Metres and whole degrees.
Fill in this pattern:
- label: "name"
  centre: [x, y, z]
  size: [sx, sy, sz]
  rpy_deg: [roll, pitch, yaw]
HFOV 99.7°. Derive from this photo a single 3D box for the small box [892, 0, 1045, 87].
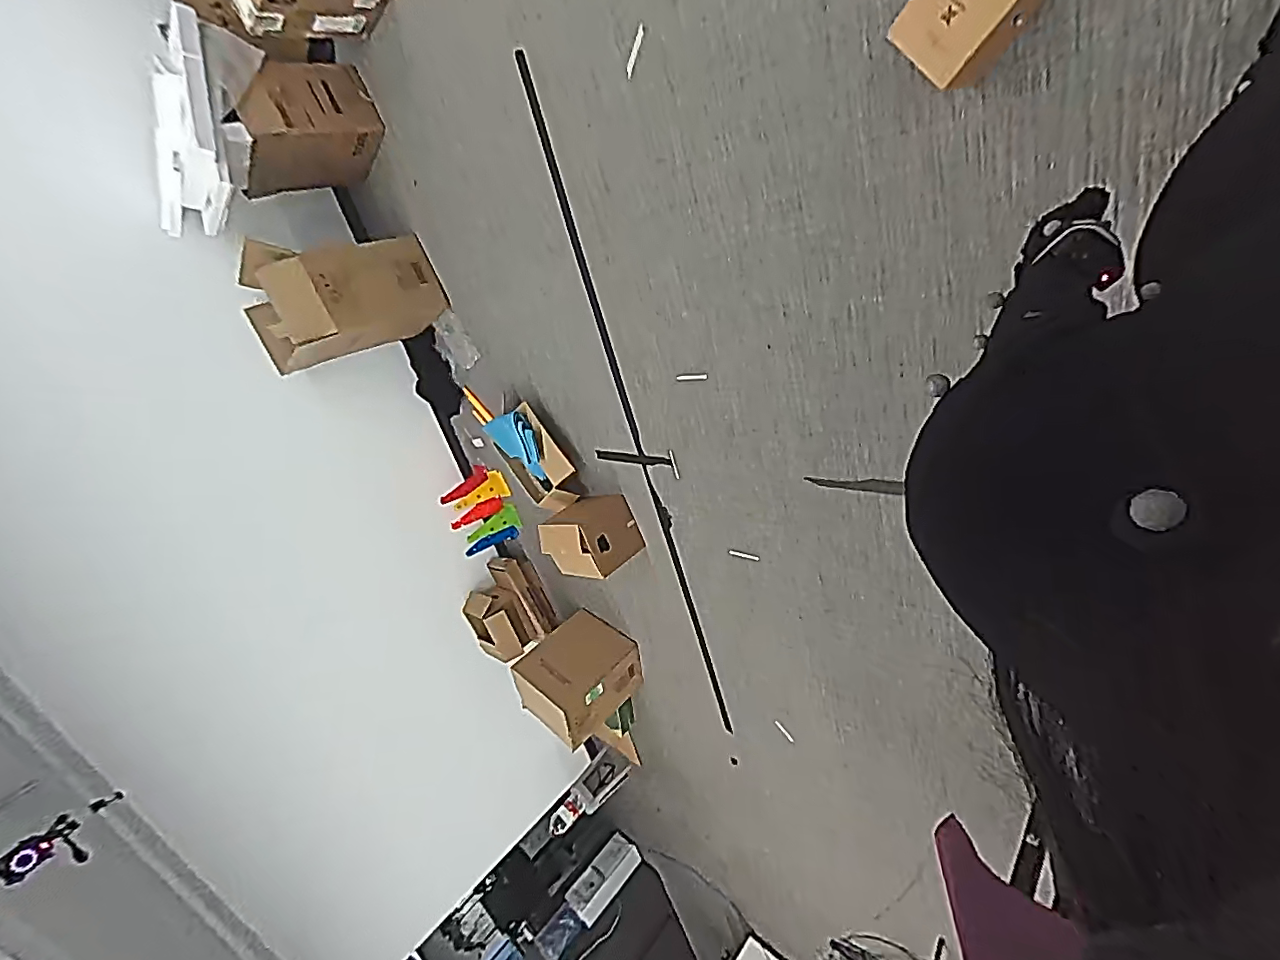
- label: "small box"
  centre: [0.625, -0.887, 1.019]
  size: [0.168, 0.176, 0.179]
  rpy_deg: [52, 145, 8]
